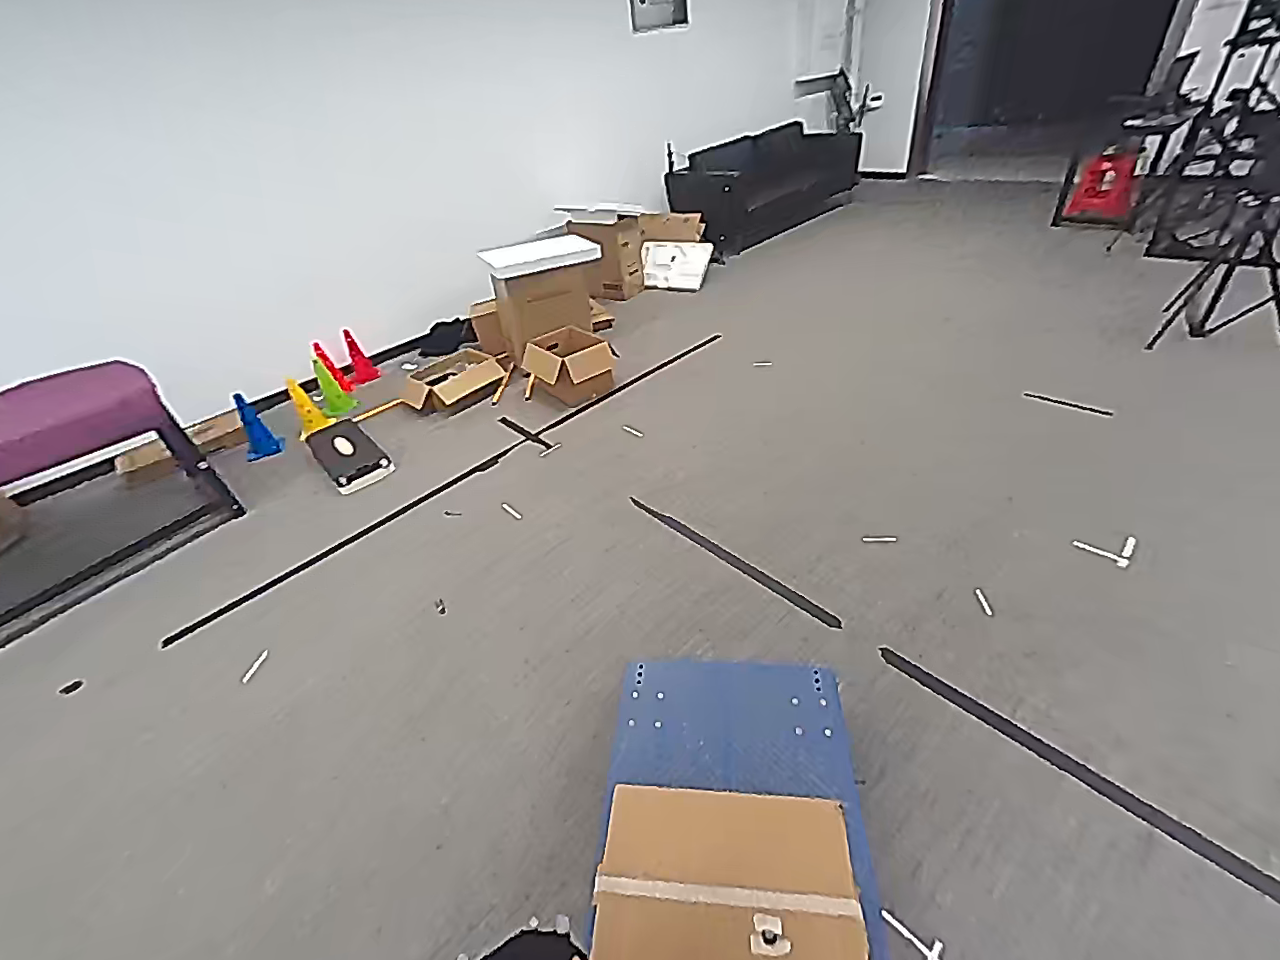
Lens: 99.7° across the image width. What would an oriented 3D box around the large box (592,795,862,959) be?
[{"bbox_3d":[0.145,0.786,0.934,0.408,0.320,0.320,-1,38,9],"label":"large box"}]
